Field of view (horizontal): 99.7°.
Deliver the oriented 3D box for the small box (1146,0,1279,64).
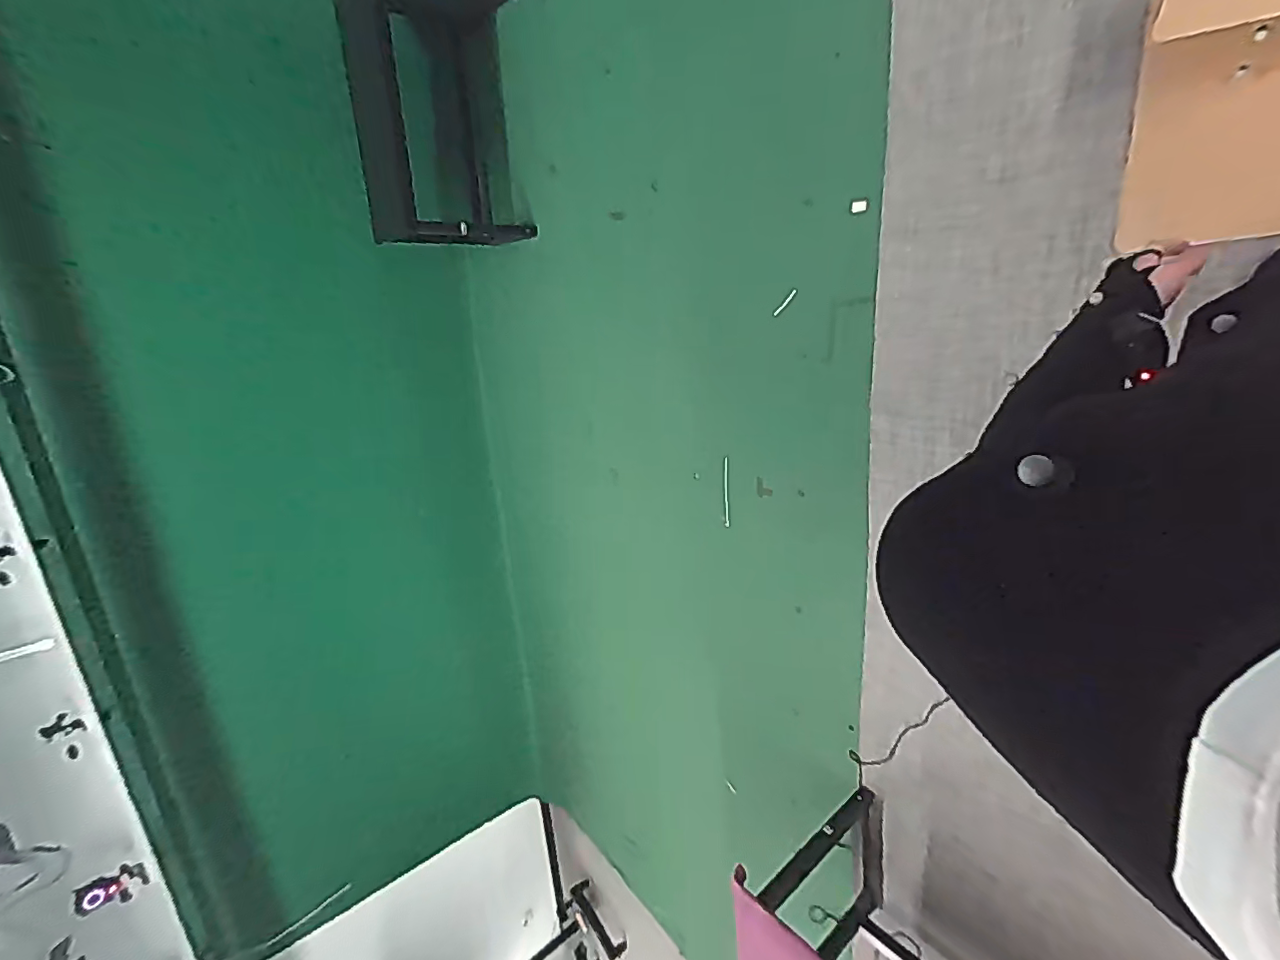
[{"bbox_3d":[0.952,-0.786,0.846,0.179,0.176,0.168,25,121,46],"label":"small box"}]
